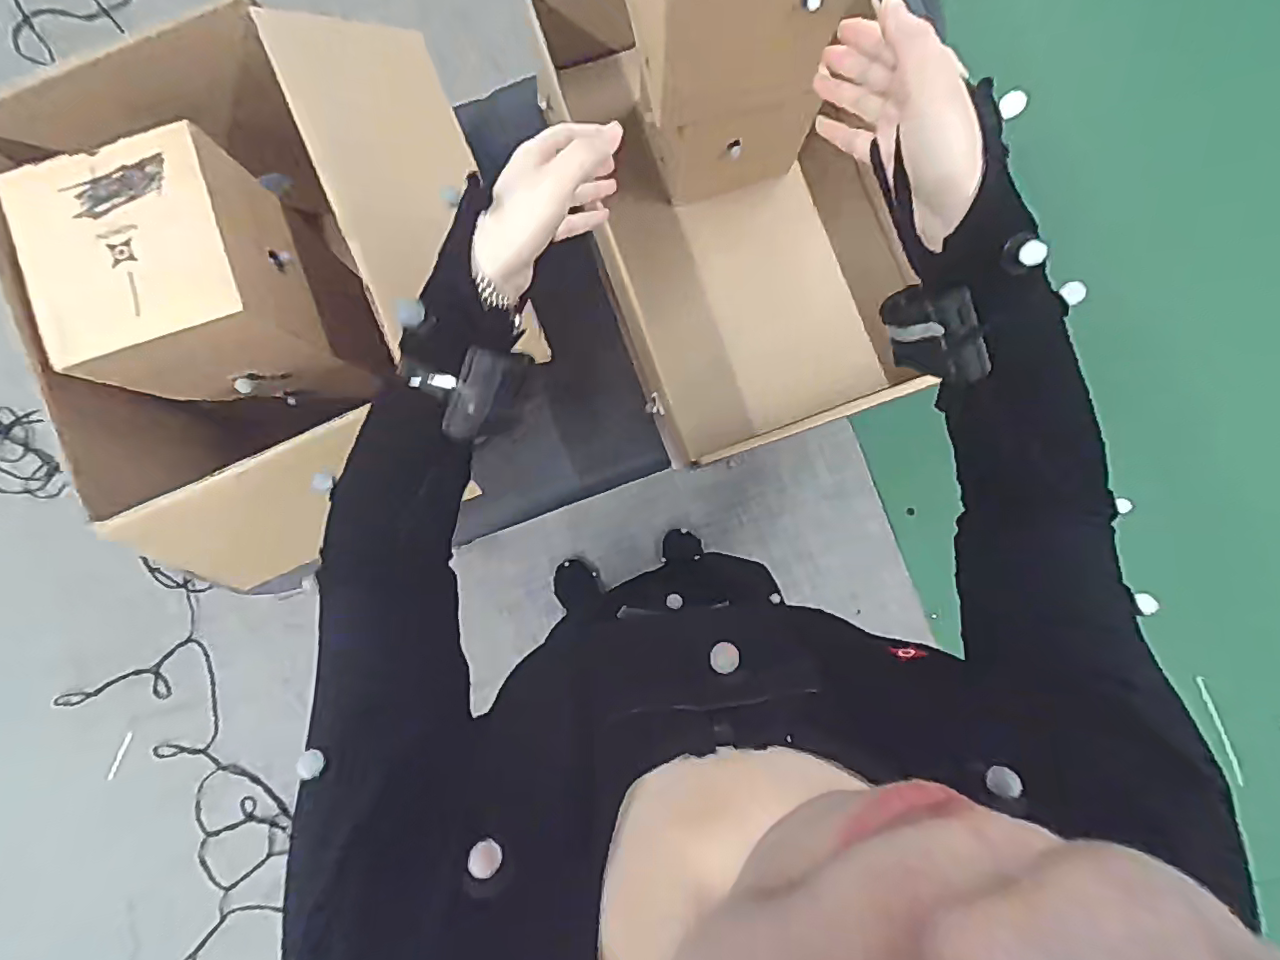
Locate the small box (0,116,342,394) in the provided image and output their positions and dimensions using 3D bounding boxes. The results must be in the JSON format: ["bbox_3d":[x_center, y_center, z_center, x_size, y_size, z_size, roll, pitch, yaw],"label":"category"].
[{"bbox_3d":[-0.432,-0.200,0.530,0.168,0.176,0.179,-18,90,-2],"label":"small box"}]

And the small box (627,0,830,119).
[{"bbox_3d":[0.080,-0.492,0.524,0.179,0.176,0.168,-13,89,-2],"label":"small box"}]
